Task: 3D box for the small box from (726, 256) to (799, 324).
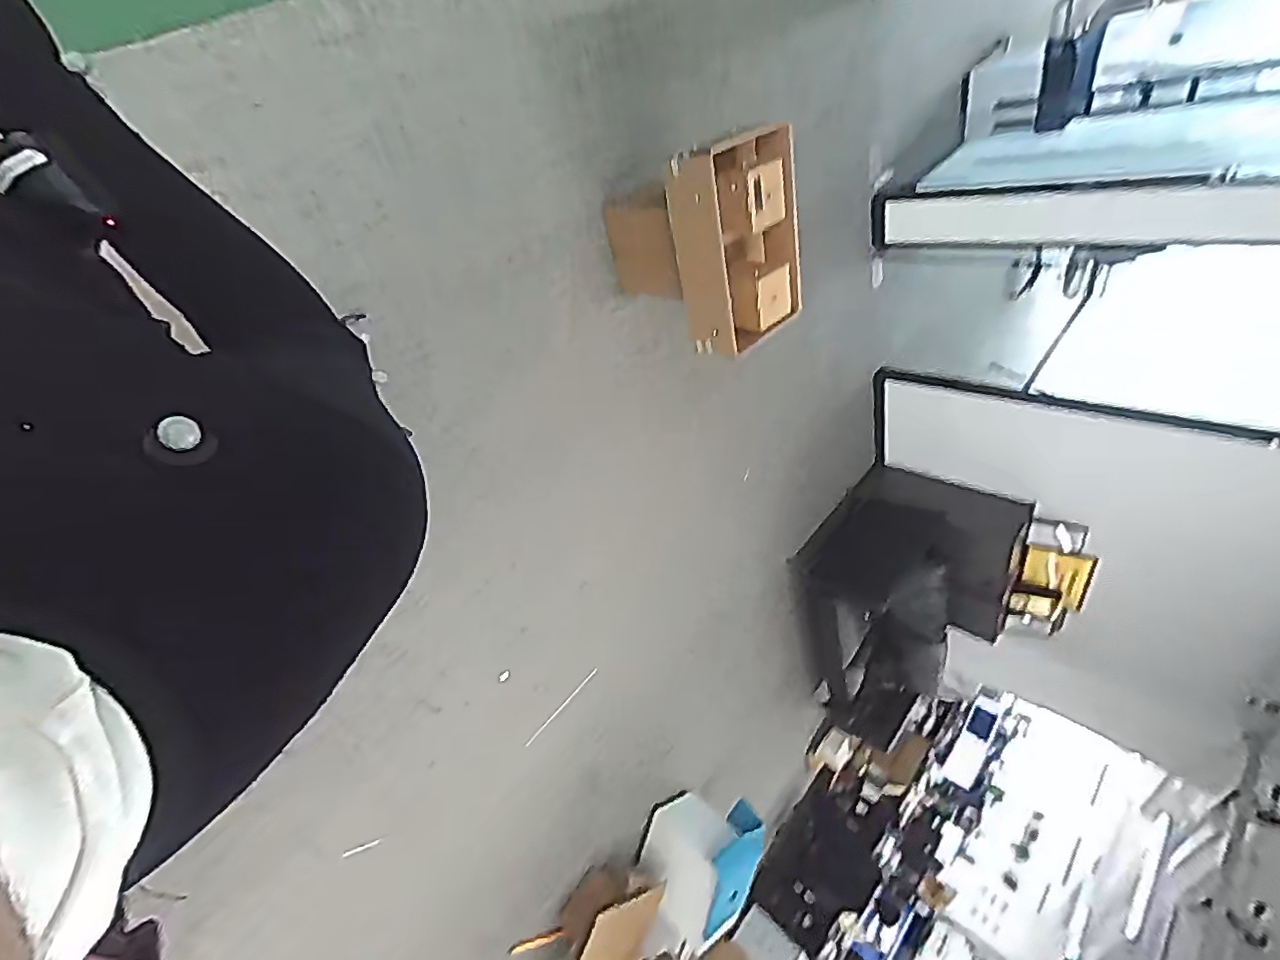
[{"bbox_3d":[0.413,-0.644,1.817,0.179,0.176,0.168,-37,131,-27],"label":"small box"}]
